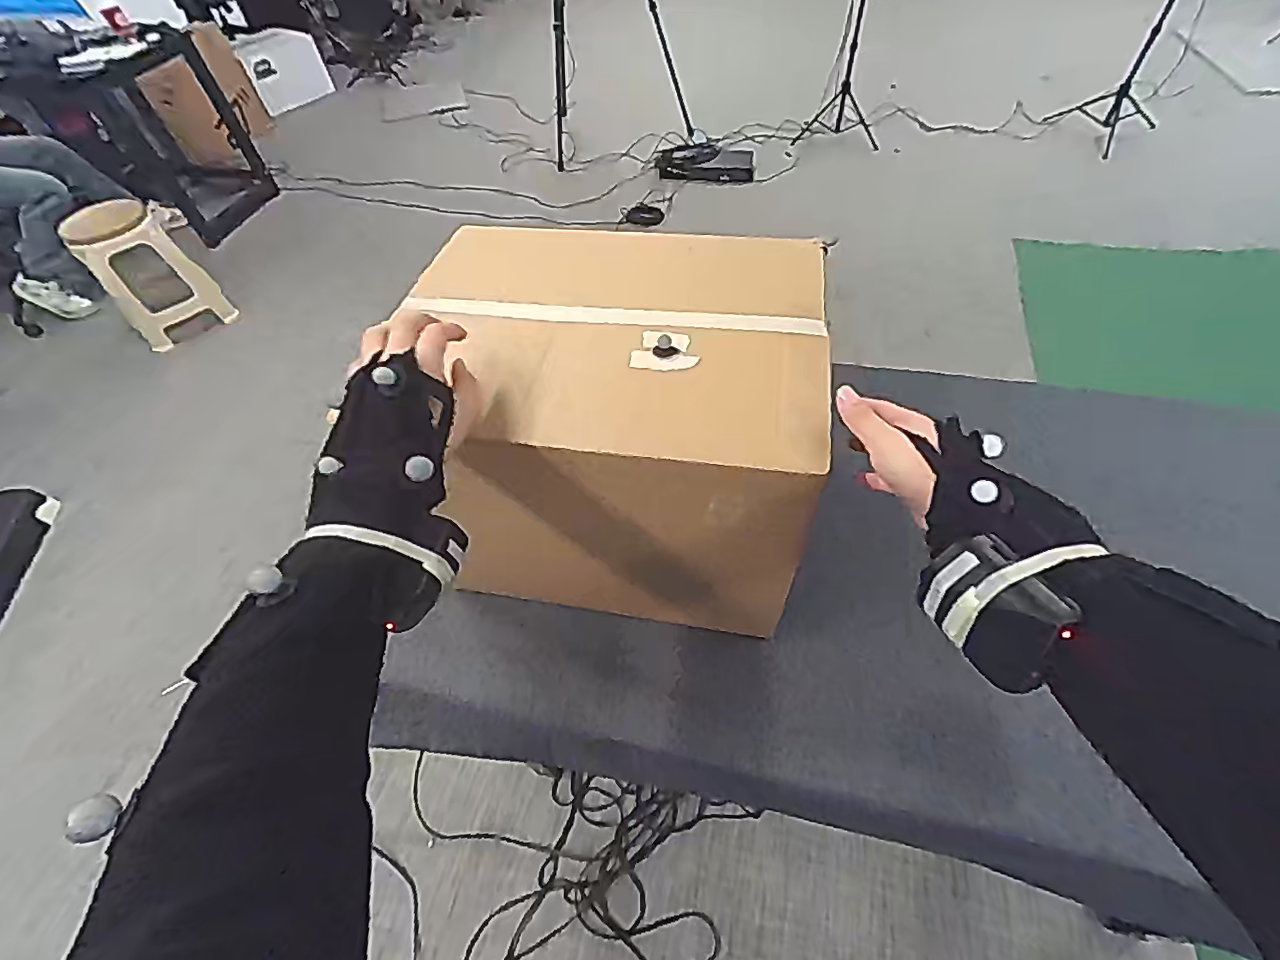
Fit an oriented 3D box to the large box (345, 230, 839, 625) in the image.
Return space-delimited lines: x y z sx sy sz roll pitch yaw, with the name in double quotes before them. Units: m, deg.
"large box" -0.020 -0.057 0.623 0.408 0.320 0.320 7 54 8
